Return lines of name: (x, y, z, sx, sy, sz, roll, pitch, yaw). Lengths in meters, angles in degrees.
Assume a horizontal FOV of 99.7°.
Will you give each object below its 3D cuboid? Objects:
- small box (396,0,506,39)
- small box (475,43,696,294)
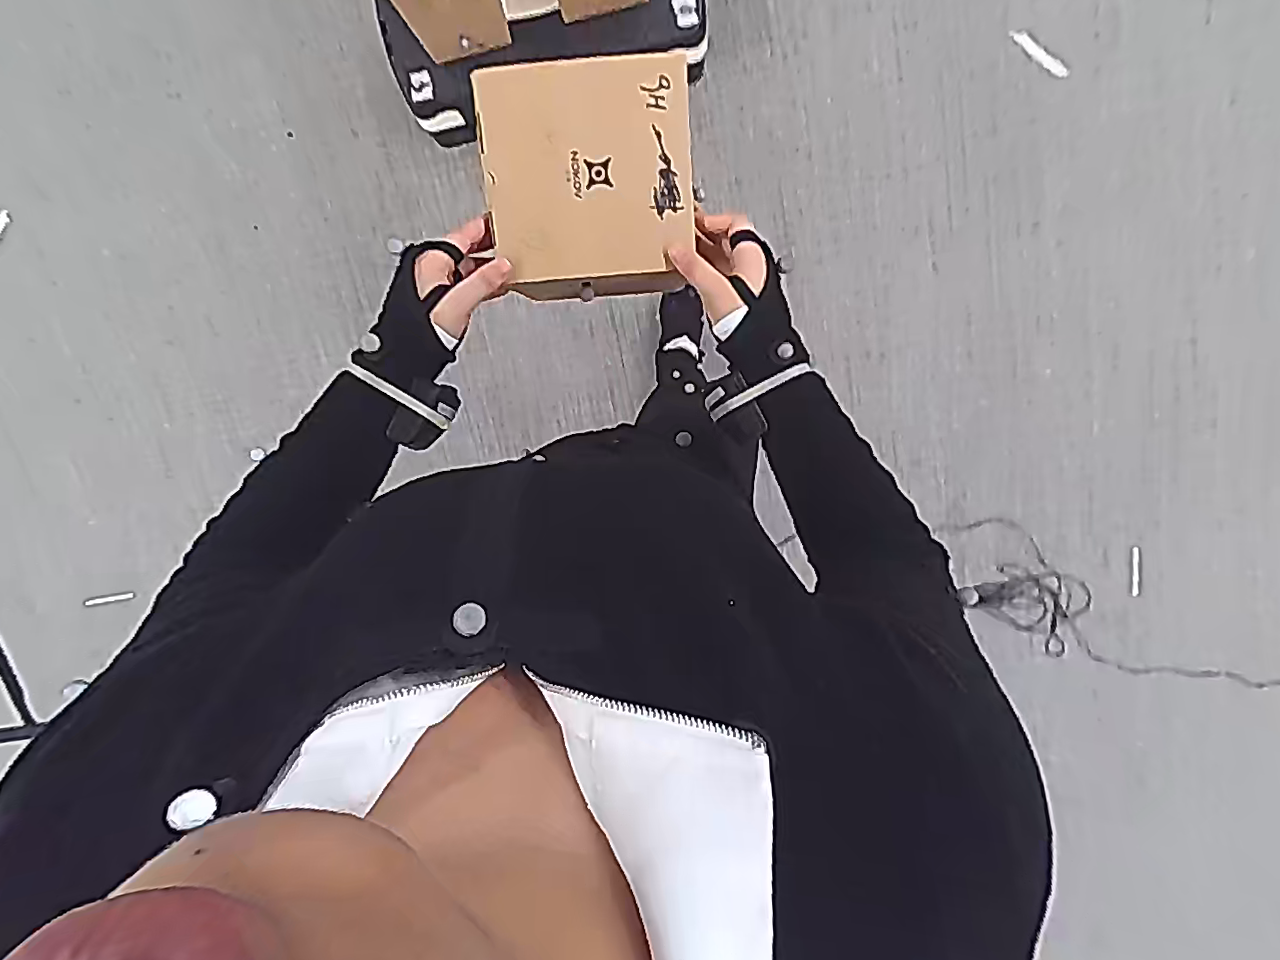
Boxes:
small box: (-0.361, -0.933, 1.009, 0.168, 0.176, 0.179, -12, 101, 4)
small box: (-0.042, -0.279, 0.526, 0.179, 0.176, 0.168, -4, 102, 1)
